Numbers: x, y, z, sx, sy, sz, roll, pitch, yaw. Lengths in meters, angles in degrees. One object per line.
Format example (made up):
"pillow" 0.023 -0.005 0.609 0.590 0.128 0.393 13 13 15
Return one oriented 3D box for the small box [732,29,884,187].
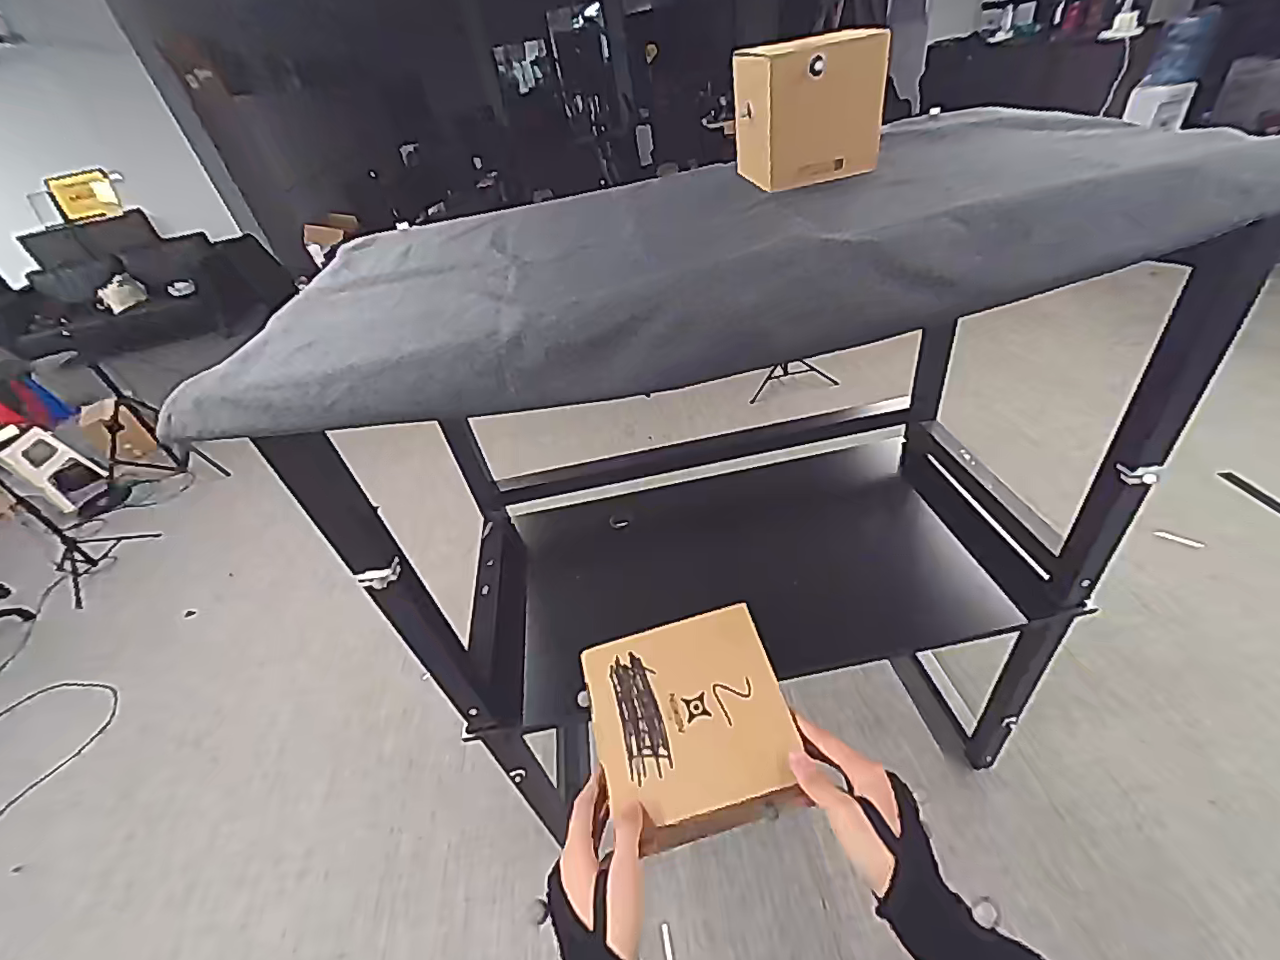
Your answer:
"small box" 0.244 -0.561 0.824 0.168 0.176 0.179 -13 38 -1
